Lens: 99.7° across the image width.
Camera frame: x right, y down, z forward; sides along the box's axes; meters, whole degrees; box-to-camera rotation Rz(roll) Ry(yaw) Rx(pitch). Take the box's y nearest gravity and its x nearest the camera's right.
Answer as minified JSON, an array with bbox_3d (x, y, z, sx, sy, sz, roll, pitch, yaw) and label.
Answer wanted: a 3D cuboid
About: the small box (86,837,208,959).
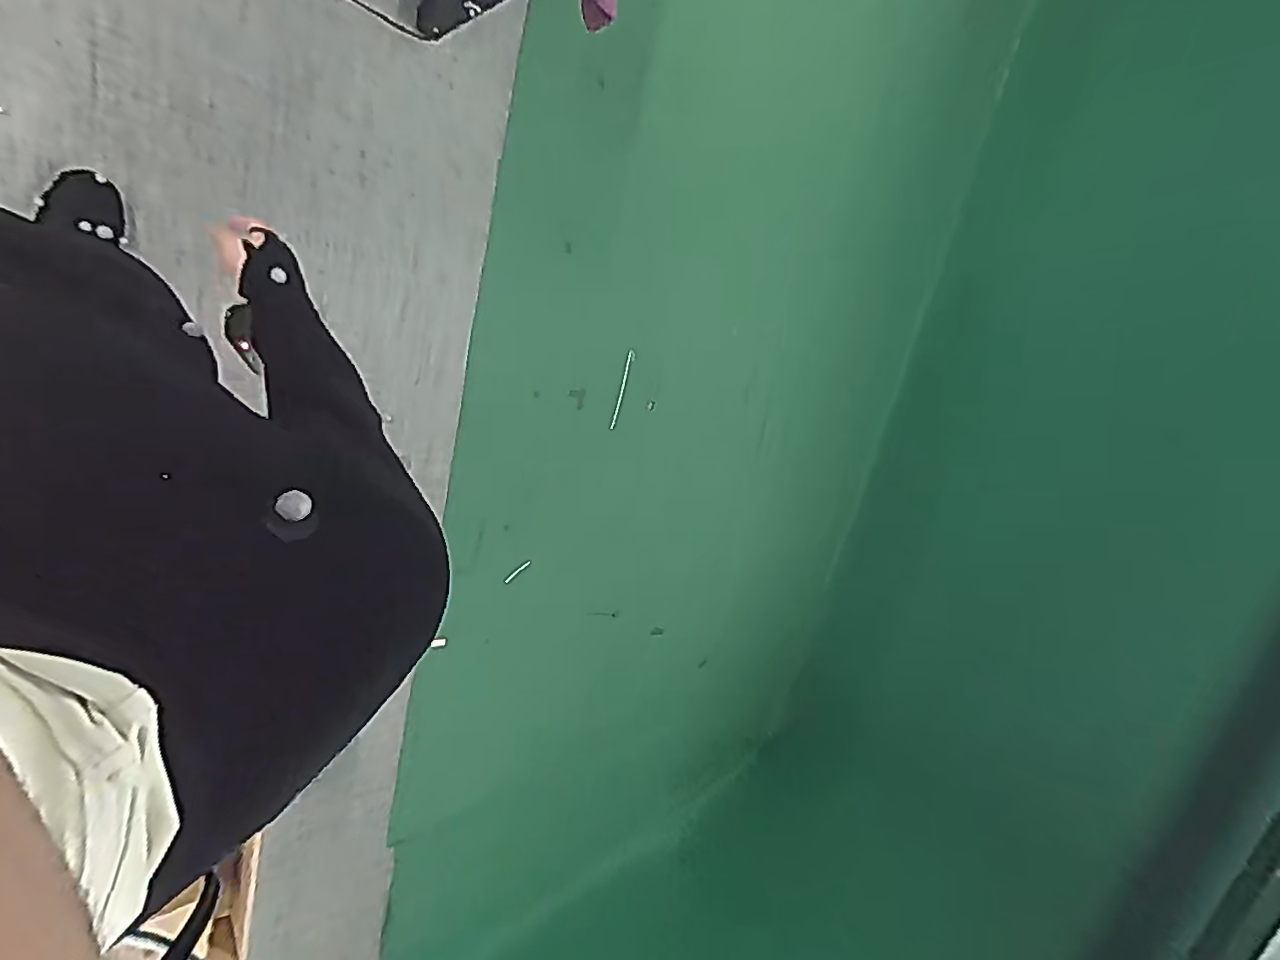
[{"bbox_3d":[-1.019,0.892,1.120,0.179,0.176,0.168,2,107,-42],"label":"small box"}]
